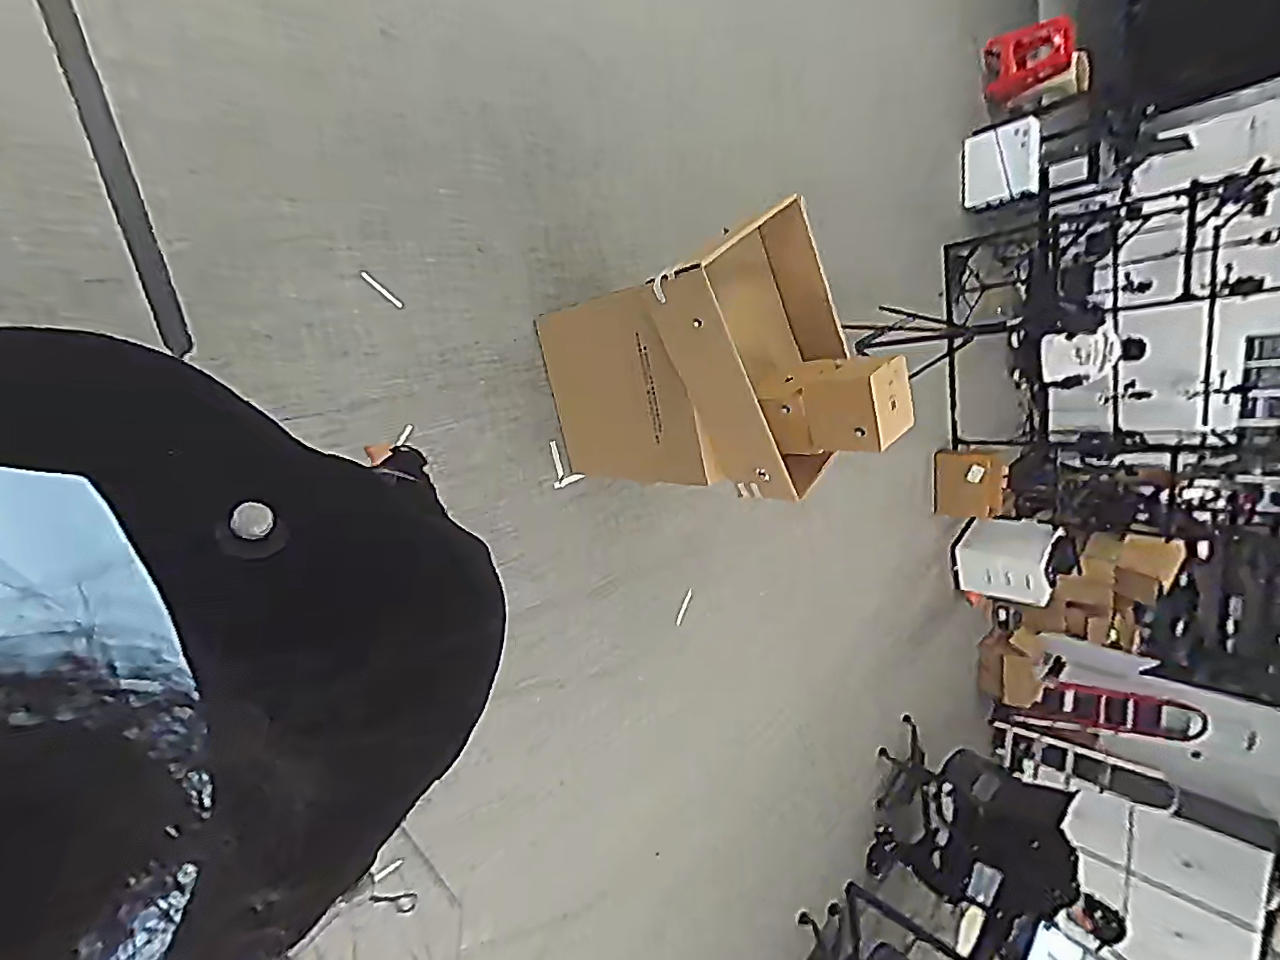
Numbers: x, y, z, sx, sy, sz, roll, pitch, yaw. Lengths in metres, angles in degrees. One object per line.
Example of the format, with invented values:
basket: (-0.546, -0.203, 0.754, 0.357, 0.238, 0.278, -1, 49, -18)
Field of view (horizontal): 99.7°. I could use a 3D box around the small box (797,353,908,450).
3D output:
small box: (0.491, -0.181, 1.254, 0.168, 0.176, 0.179, -31, 112, -34)
